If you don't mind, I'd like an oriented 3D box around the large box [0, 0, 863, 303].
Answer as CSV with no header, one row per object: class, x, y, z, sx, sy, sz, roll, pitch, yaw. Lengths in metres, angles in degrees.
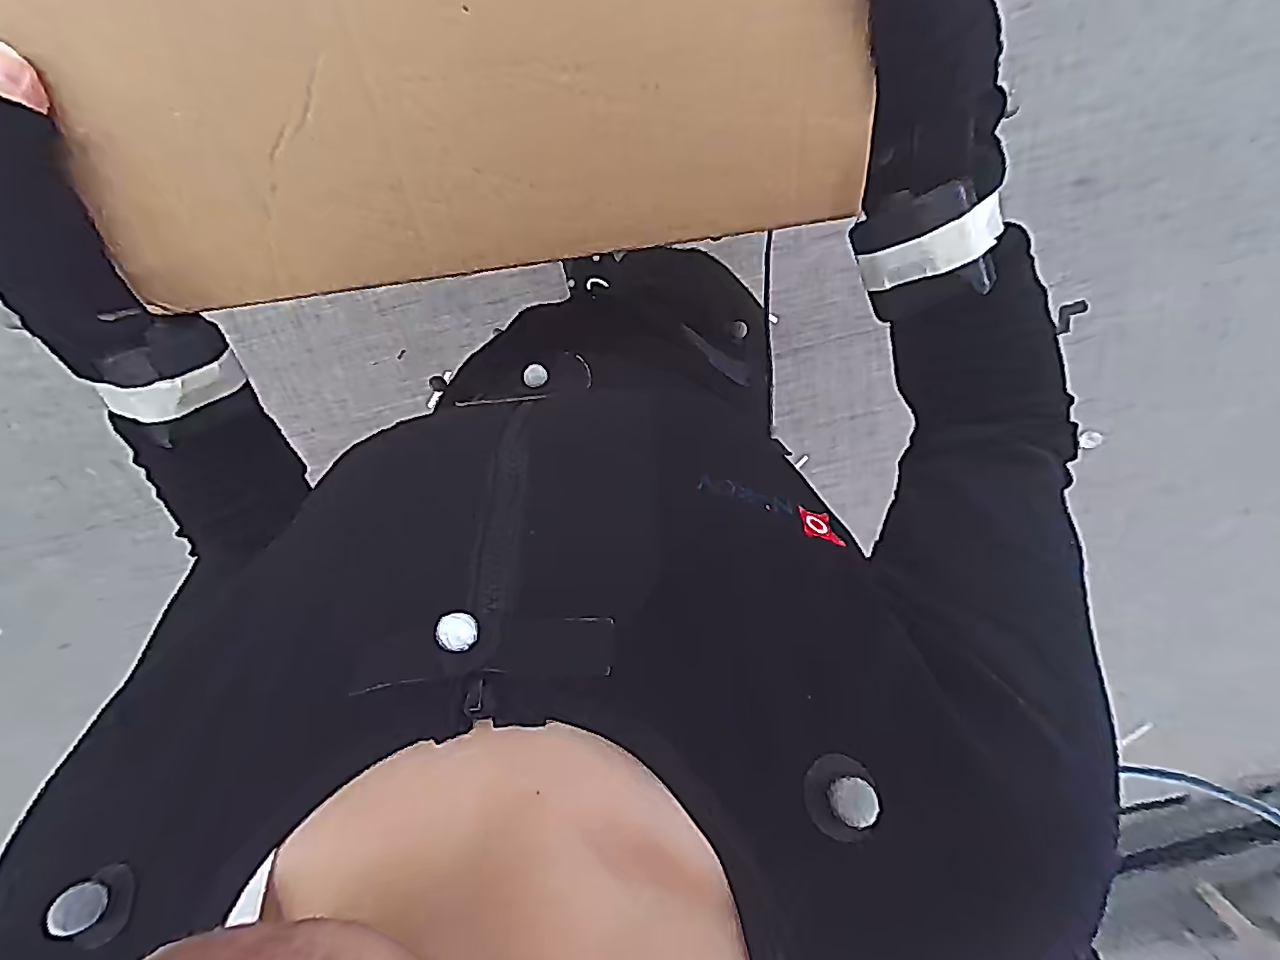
large box,-0.108,-0.342,0.331,0.408,0.320,0.320,-8,128,1
